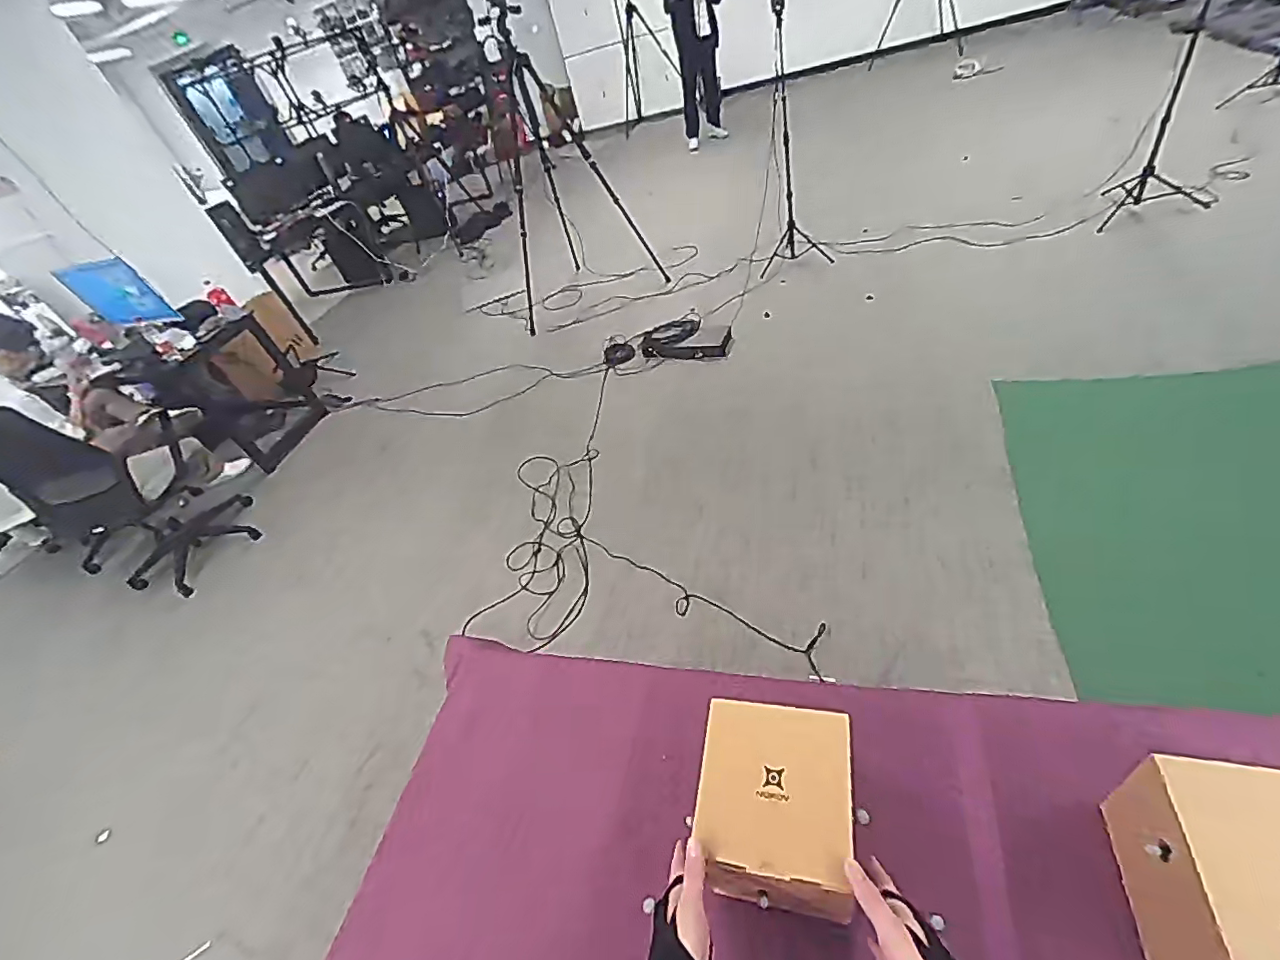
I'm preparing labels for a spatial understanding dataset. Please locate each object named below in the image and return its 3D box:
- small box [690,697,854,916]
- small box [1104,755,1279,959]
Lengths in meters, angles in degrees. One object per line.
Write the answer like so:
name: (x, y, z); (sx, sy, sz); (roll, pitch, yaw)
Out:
small box: (0.166, 0.393, 0.657); (0.168, 0.176, 0.179); (0, 47, 19)
small box: (0.581, 0.392, 0.507); (0.168, 0.176, 0.179); (0, 45, 21)
